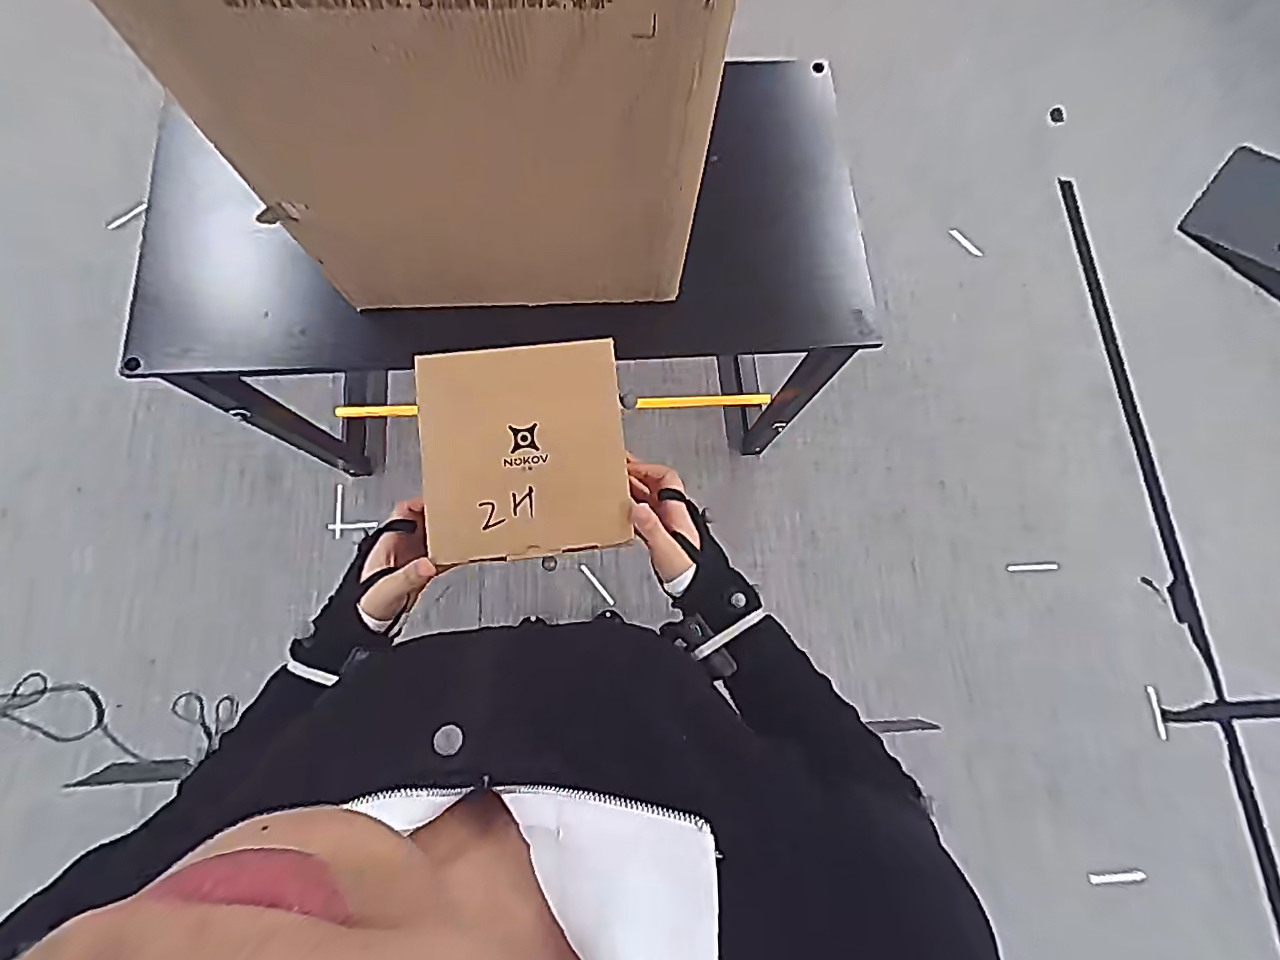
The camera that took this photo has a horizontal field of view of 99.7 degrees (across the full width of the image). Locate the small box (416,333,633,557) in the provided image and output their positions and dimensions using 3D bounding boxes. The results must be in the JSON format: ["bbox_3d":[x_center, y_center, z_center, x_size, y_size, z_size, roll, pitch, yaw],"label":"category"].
[{"bbox_3d":[-0.100,-0.021,0.516,0.168,0.176,0.179,-6,83,-4],"label":"small box"}]
